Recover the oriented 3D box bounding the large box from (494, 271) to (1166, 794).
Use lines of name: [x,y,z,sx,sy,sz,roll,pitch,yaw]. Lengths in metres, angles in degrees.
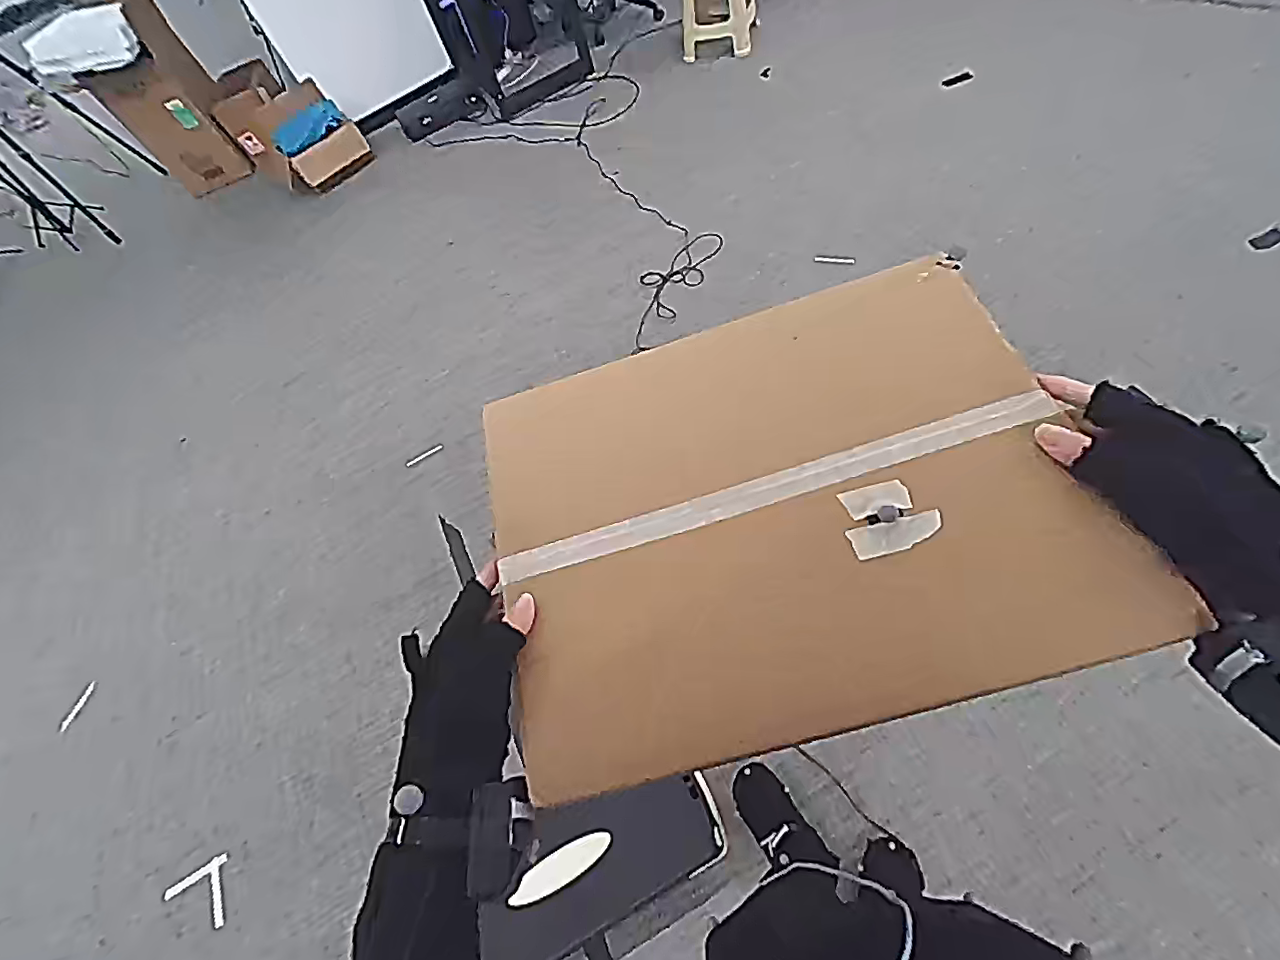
large box: [0.120,0.075,0.533,0.408,0.320,0.320,-18,63,4]
